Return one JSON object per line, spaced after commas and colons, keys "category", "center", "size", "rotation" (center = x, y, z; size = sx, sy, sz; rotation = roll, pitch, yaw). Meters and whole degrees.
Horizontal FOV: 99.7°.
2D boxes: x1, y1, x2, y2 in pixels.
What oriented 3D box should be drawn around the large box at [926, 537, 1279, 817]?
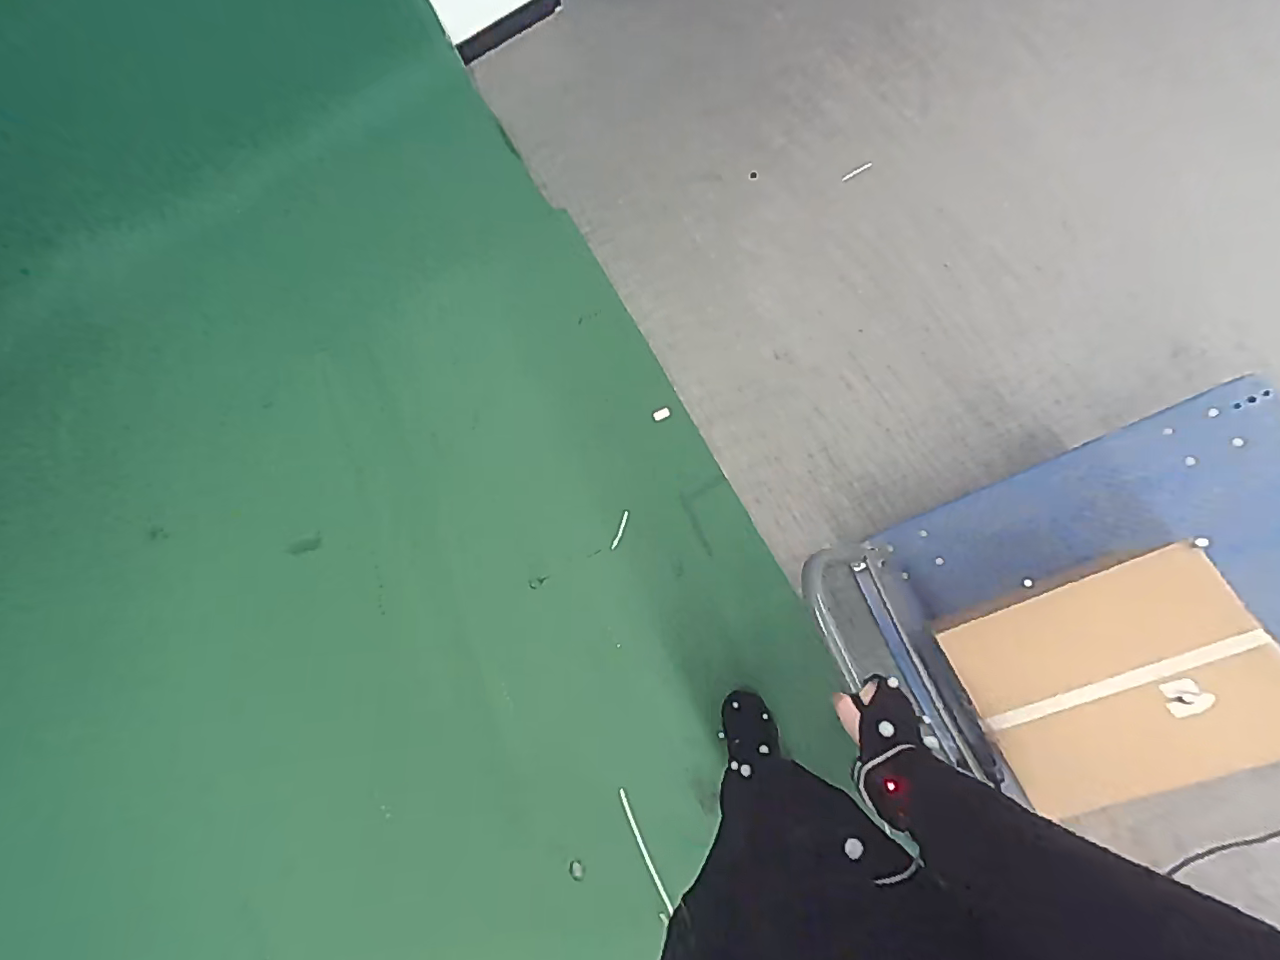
{"category": "large box", "center": [0.803, 0.340, 0.985], "size": [0.408, 0.320, 0.320], "rotation": [-29, 70, 17]}
